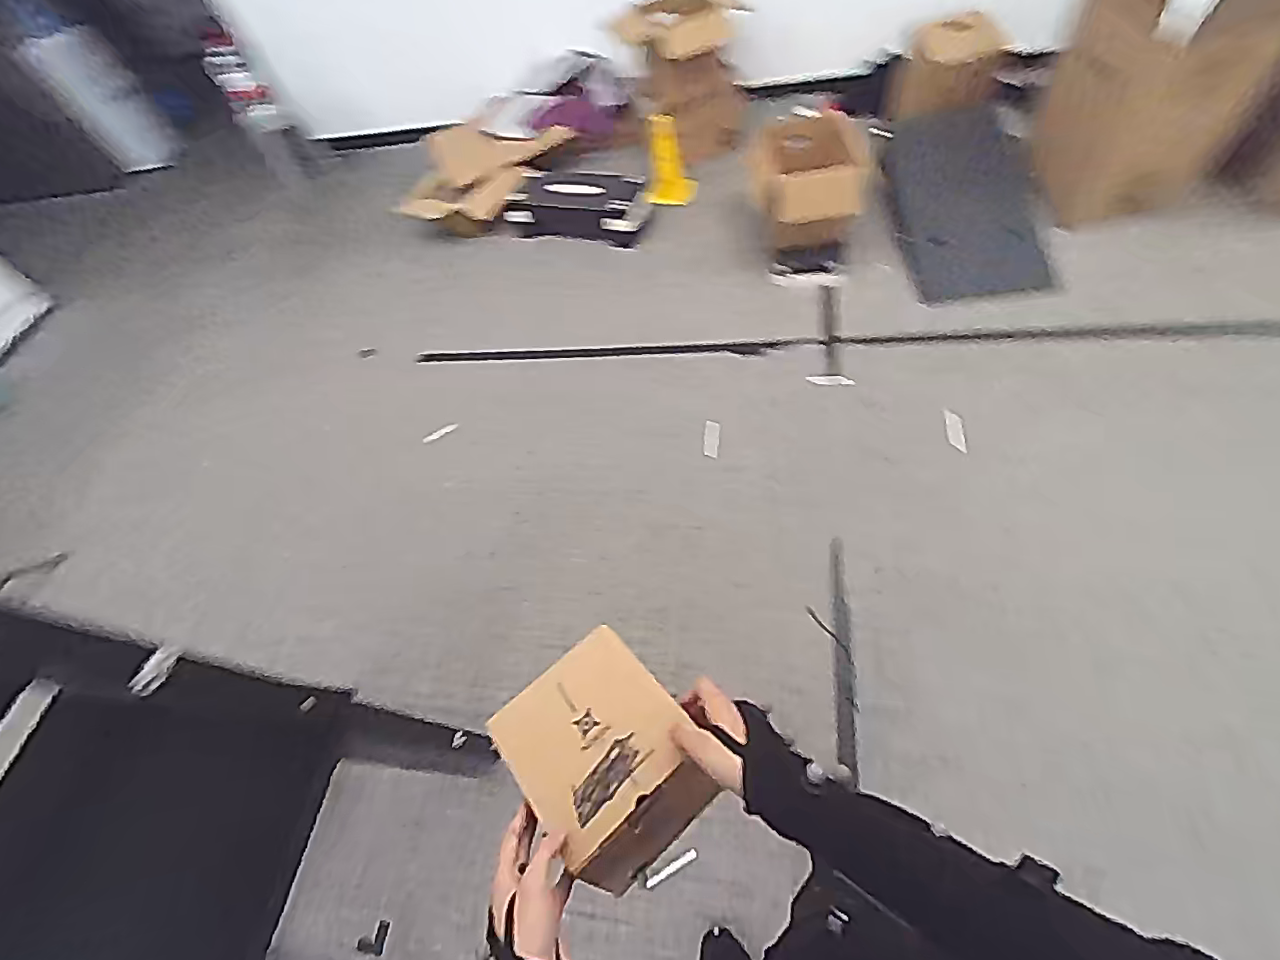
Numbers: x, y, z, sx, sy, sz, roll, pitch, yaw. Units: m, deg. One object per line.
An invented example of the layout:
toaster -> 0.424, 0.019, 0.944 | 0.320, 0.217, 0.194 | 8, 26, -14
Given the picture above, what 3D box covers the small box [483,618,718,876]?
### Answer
small box -> -0.034, 0.295, 0.594 | 0.168, 0.176, 0.179 | -37, 48, -17
